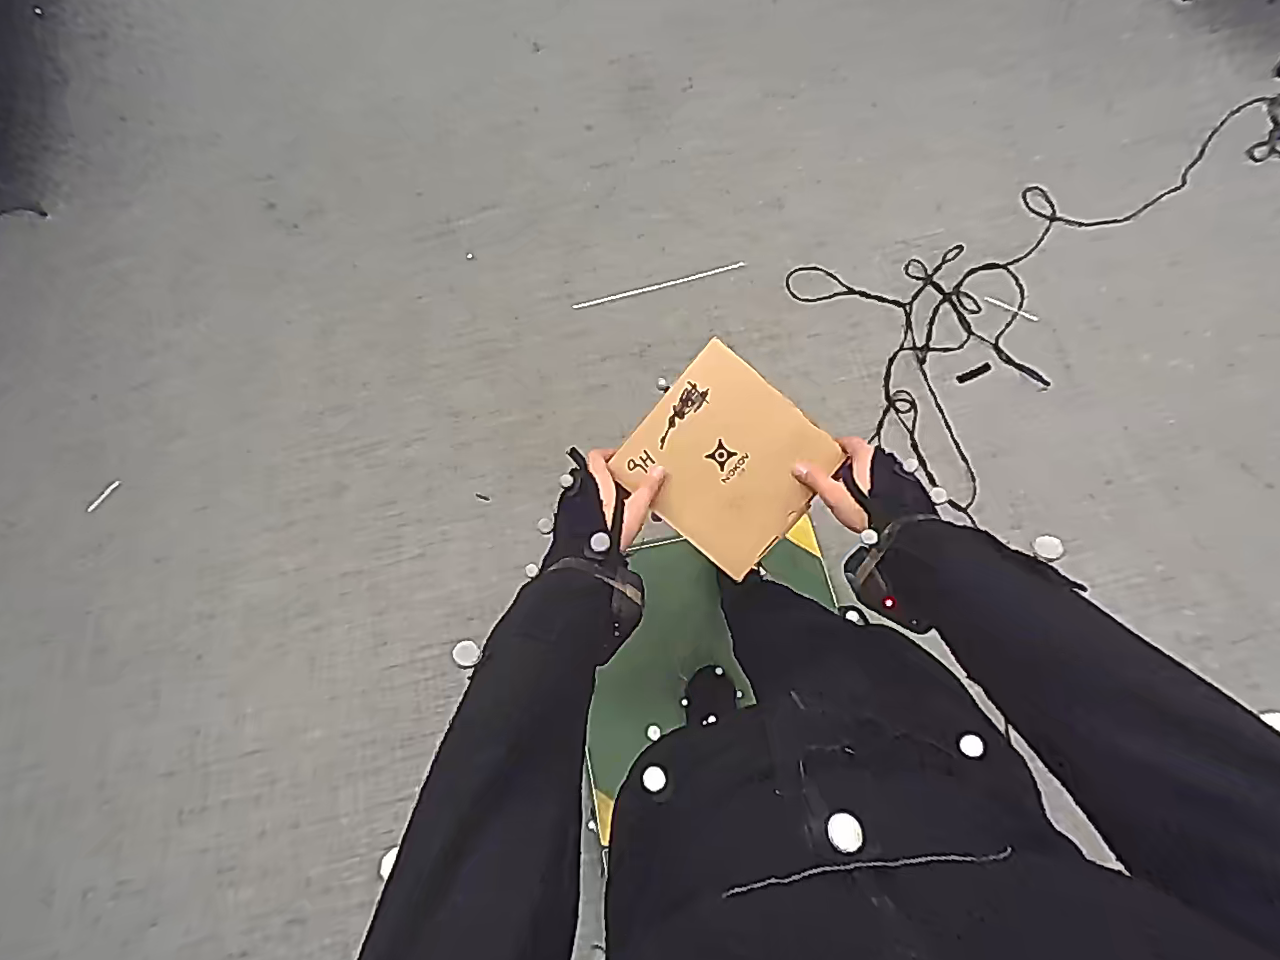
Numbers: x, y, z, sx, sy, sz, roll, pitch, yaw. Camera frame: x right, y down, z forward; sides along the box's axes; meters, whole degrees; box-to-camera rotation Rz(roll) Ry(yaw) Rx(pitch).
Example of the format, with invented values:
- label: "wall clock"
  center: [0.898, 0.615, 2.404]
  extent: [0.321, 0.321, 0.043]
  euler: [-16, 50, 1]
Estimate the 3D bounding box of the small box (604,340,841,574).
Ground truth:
- label: "small box"
  center: [0.080, -0.028, 0.605]
  extent: [0.179, 0.176, 0.168]
  euler: [40, 92, -4]
